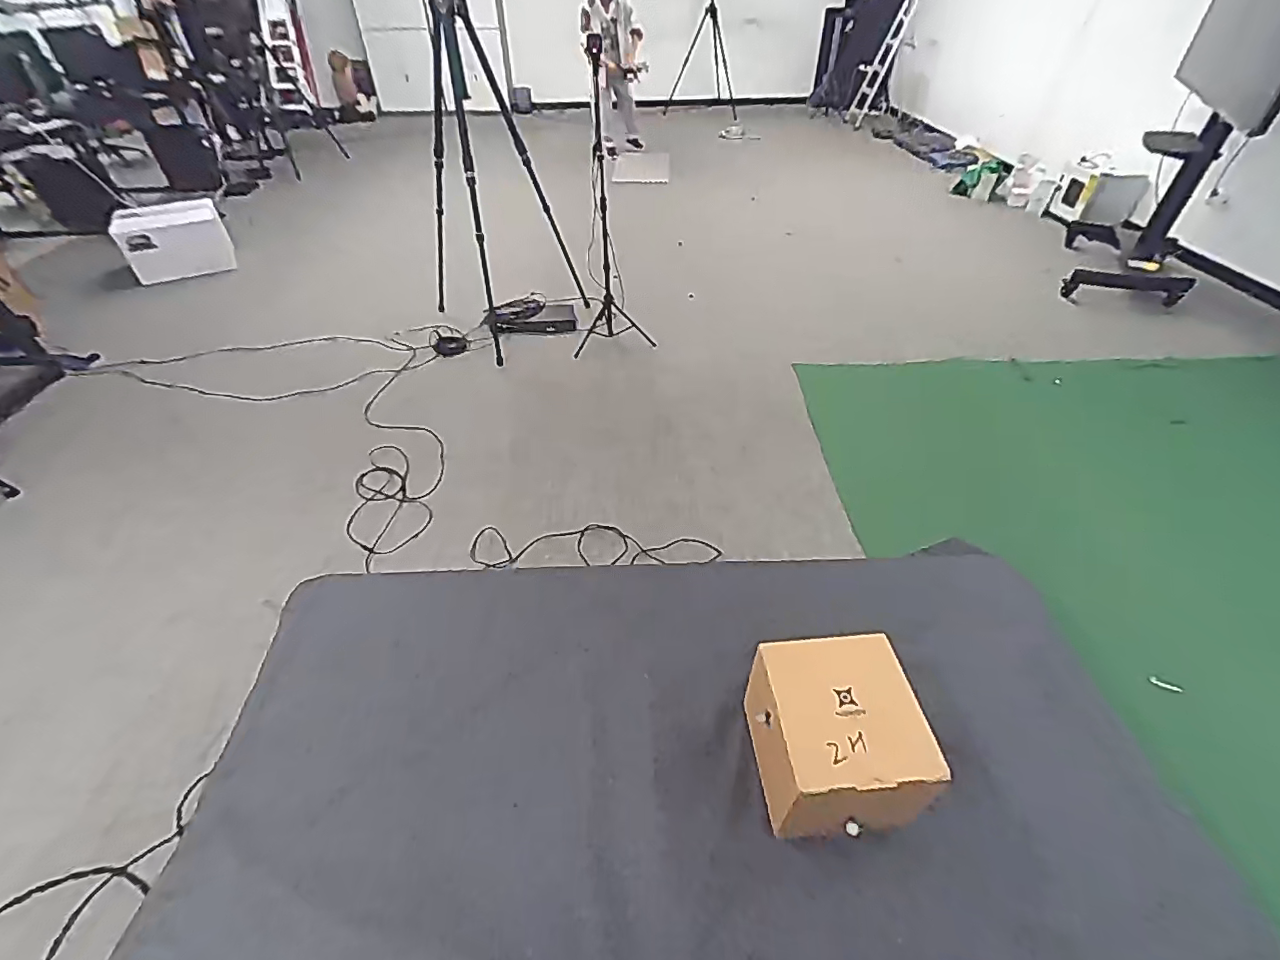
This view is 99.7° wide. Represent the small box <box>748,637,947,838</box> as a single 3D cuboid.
[{"bbox_3d":[0.240,0.323,0.683,0.168,0.176,0.179,-4,43,-2],"label":"small box"}]
